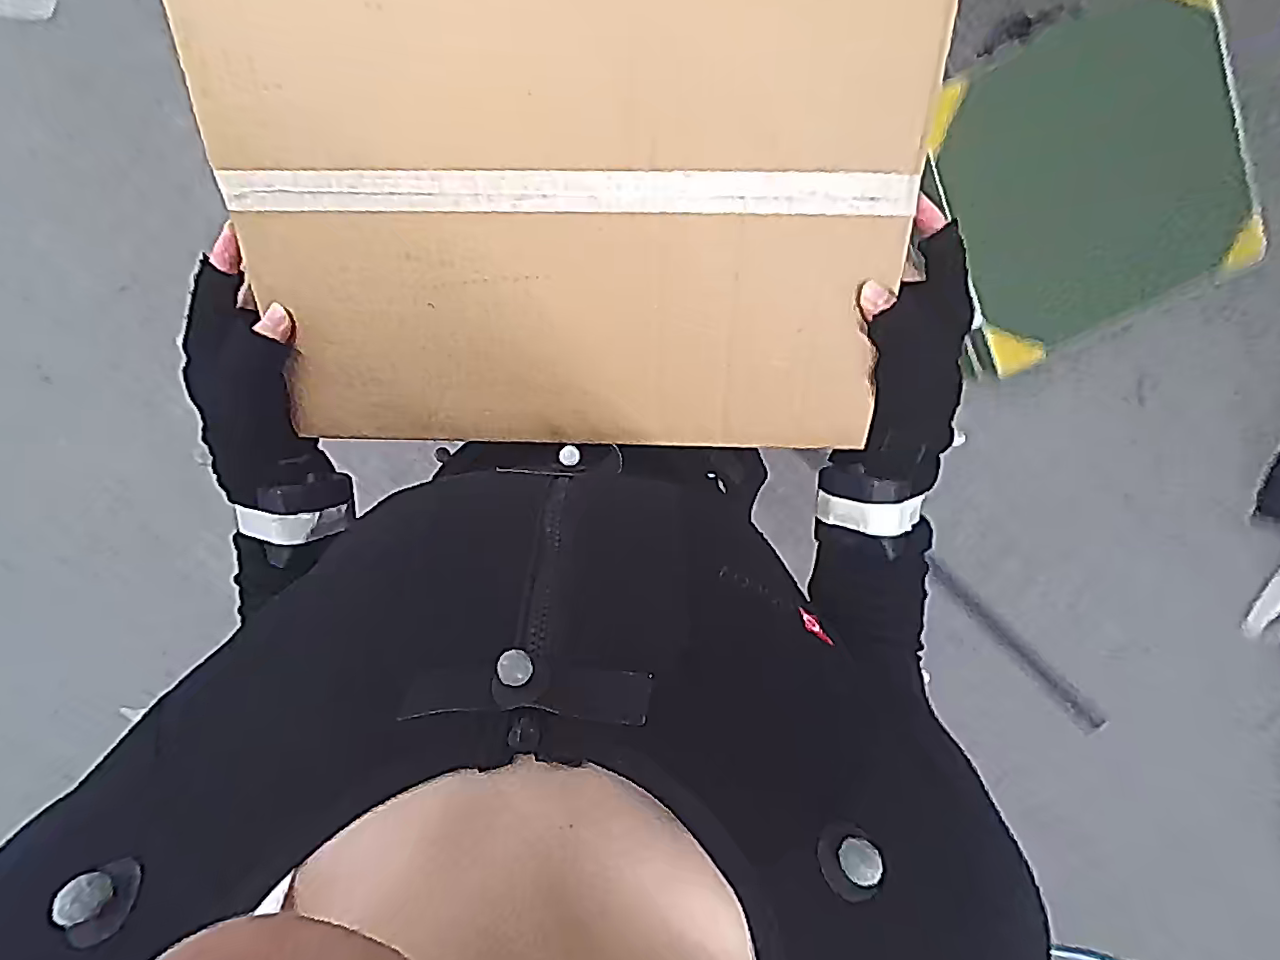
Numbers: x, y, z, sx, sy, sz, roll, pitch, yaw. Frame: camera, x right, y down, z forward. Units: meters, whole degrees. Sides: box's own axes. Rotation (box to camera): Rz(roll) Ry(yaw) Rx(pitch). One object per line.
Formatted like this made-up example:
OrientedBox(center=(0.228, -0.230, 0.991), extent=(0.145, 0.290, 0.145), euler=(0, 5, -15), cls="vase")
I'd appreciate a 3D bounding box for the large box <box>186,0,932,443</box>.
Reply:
OrientedBox(center=(-0.041, -0.233, 0.461), extent=(0.408, 0.320, 0.320), euler=(0, 117, 2), cls="large box")
